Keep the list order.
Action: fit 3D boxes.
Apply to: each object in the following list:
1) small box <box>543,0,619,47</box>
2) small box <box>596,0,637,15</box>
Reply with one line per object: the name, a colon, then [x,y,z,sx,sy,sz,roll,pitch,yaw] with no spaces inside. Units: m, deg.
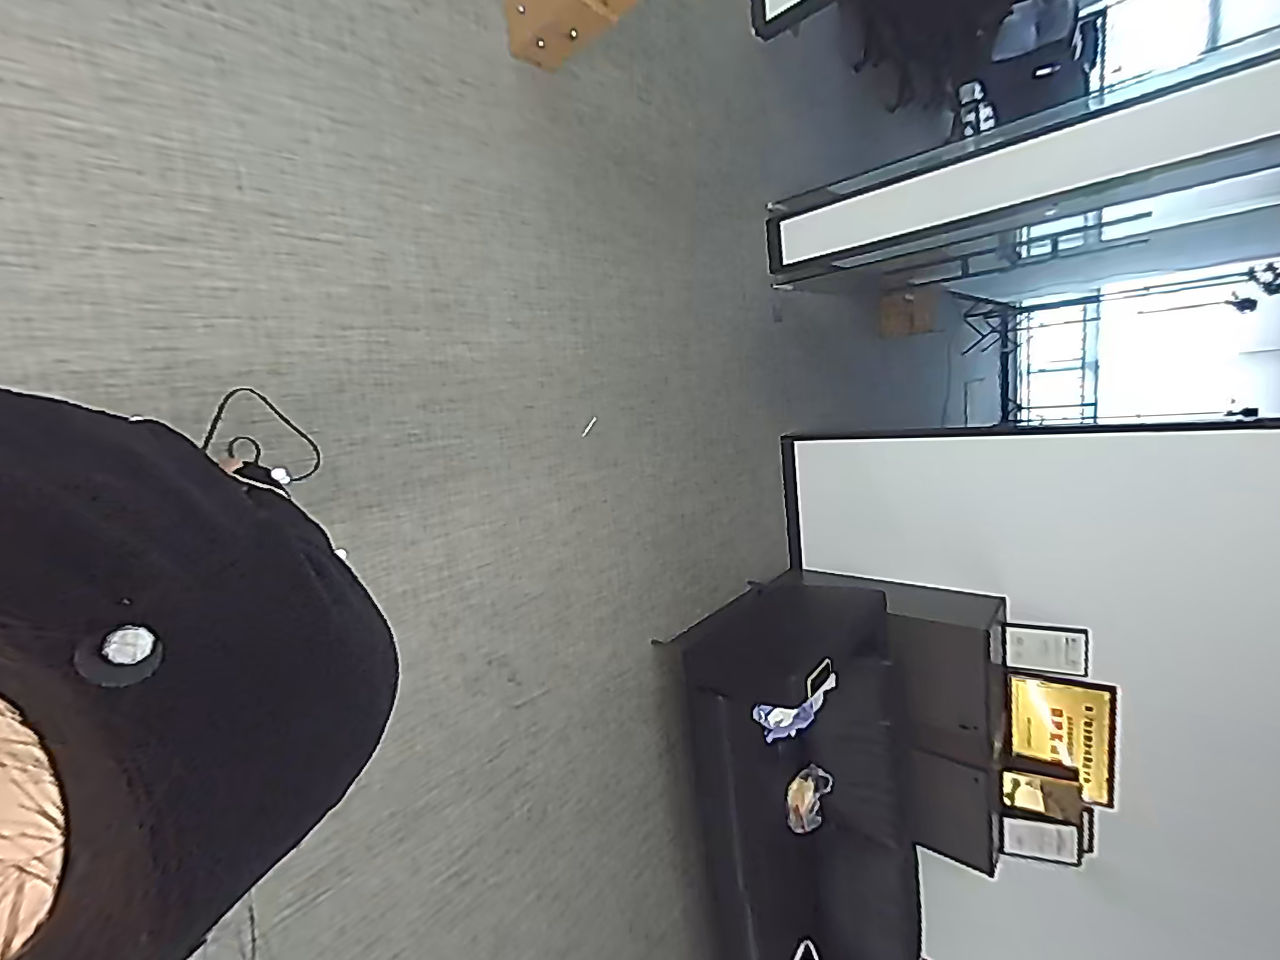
small box: [-0.185,-1.480,1.641,0.168,0.176,0.179,-11,100,-45]
small box: [-0.067,-1.488,1.528,0.168,0.176,0.179,-7,97,-46]
